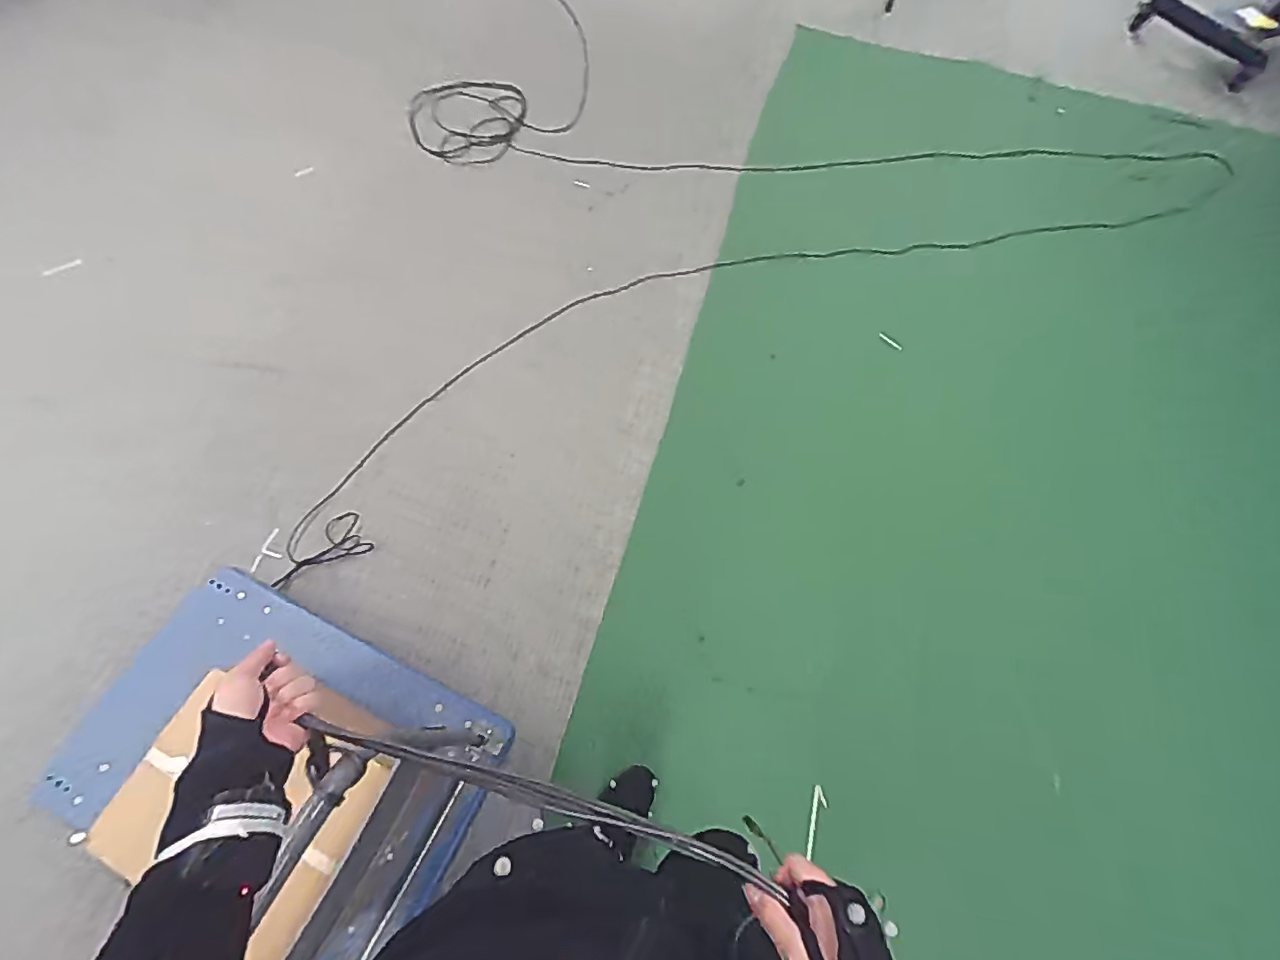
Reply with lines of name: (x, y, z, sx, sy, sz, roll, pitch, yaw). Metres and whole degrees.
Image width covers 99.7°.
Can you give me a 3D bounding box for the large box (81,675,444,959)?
large box: (-0.665, 0.615, 1.034, 0.408, 0.320, 0.320, 24, 67, 9)
